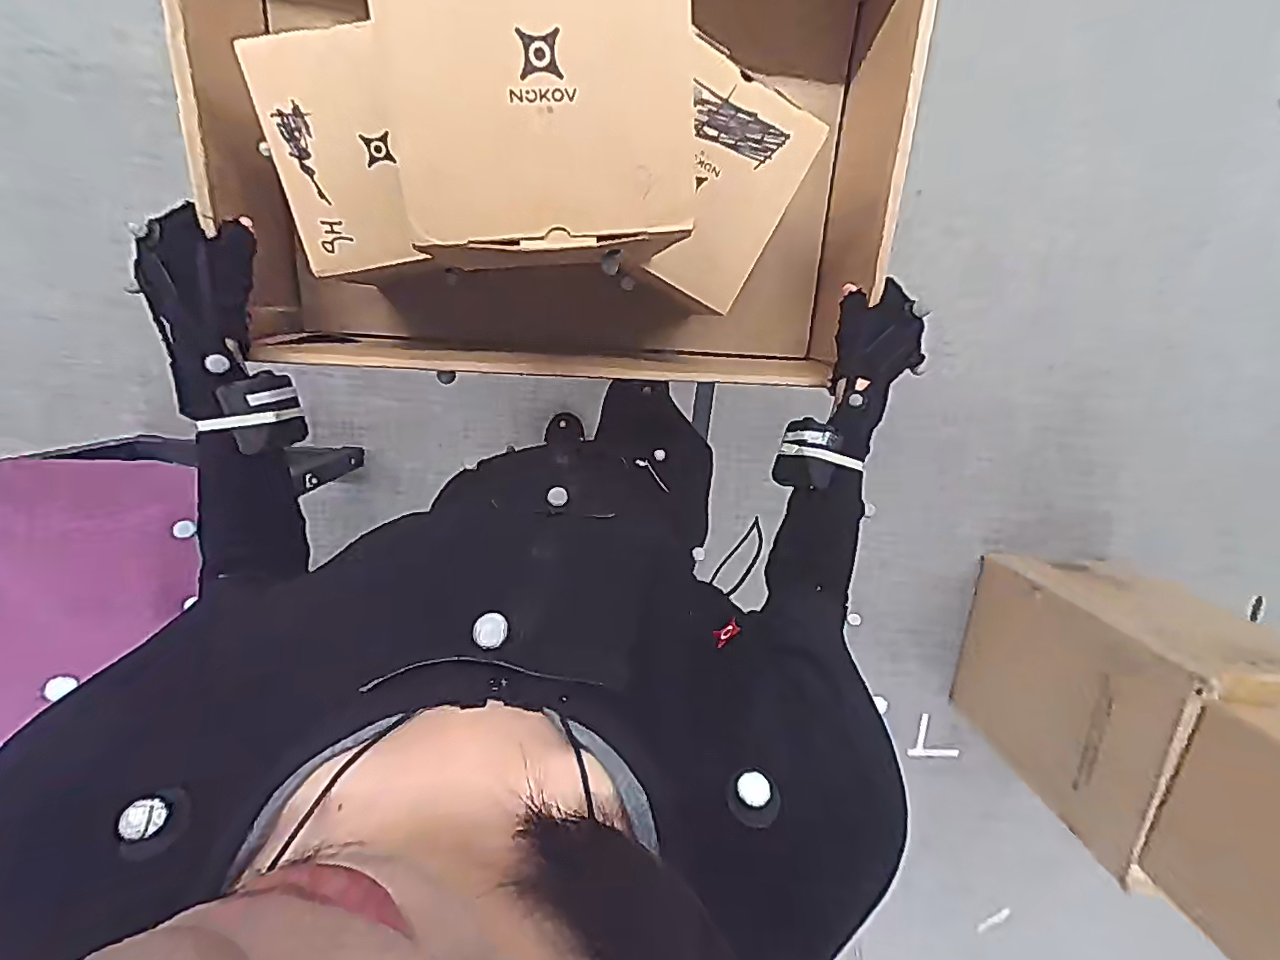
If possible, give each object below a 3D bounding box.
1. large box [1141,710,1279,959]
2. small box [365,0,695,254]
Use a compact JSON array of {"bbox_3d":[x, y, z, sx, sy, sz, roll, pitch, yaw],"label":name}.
[{"bbox_3d":[1.198,0.667,0.928,0.320,0.320,0.408,6,104,-3],"label":"large box"},{"bbox_3d":[-0.063,-0.248,0.354,0.168,0.176,0.179,-7,108,-7],"label":"small box"}]
